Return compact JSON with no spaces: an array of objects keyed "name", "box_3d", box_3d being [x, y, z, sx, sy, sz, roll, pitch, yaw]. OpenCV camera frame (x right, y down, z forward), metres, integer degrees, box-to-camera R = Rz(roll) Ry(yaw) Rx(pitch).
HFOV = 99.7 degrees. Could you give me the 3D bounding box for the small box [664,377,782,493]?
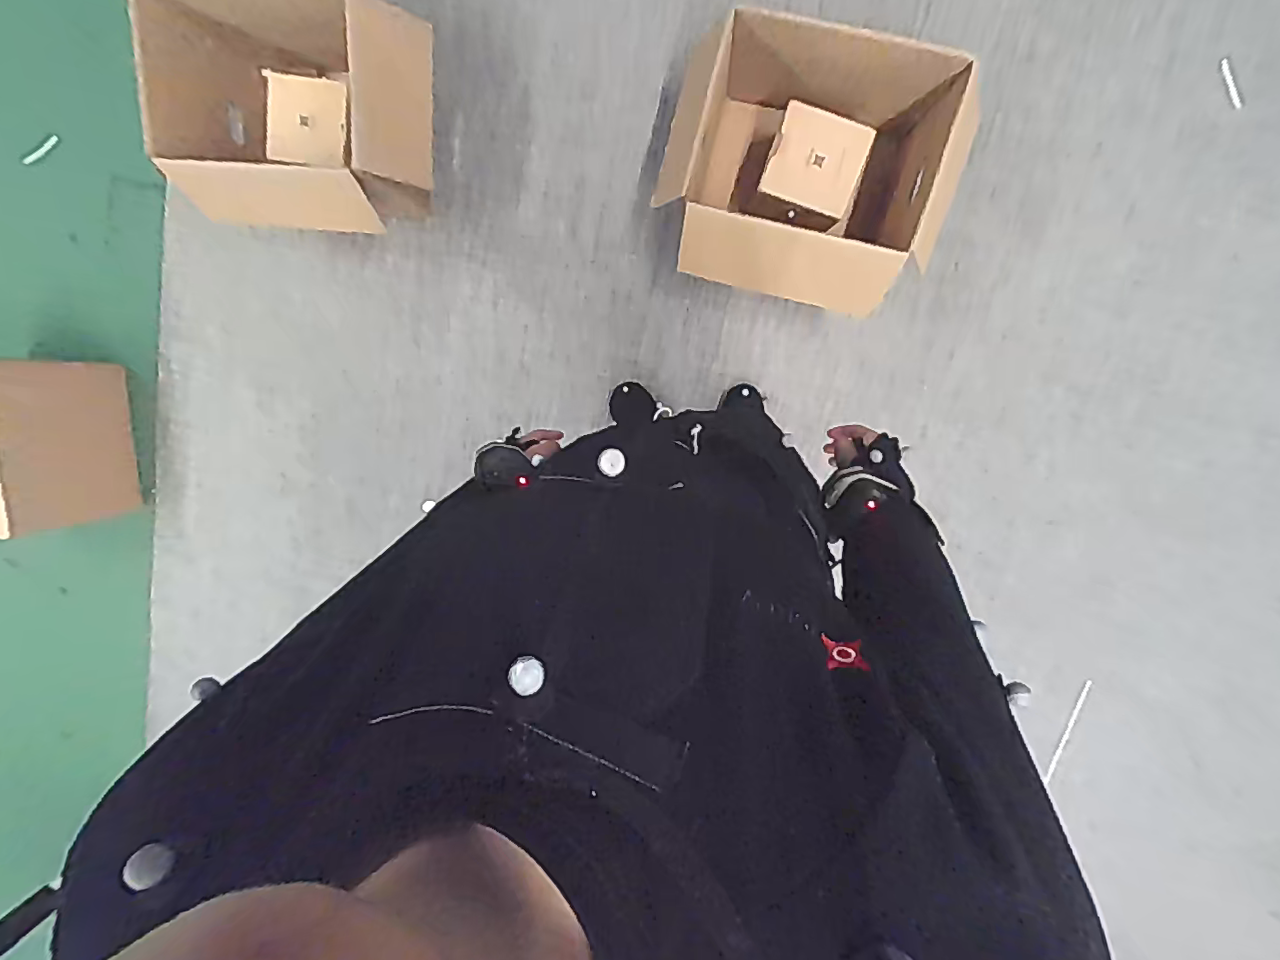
[{"name":"small box","box_3d":[0.187,-0.090,1.209,0.176,0.168,0.179,-31,108,40]}]
